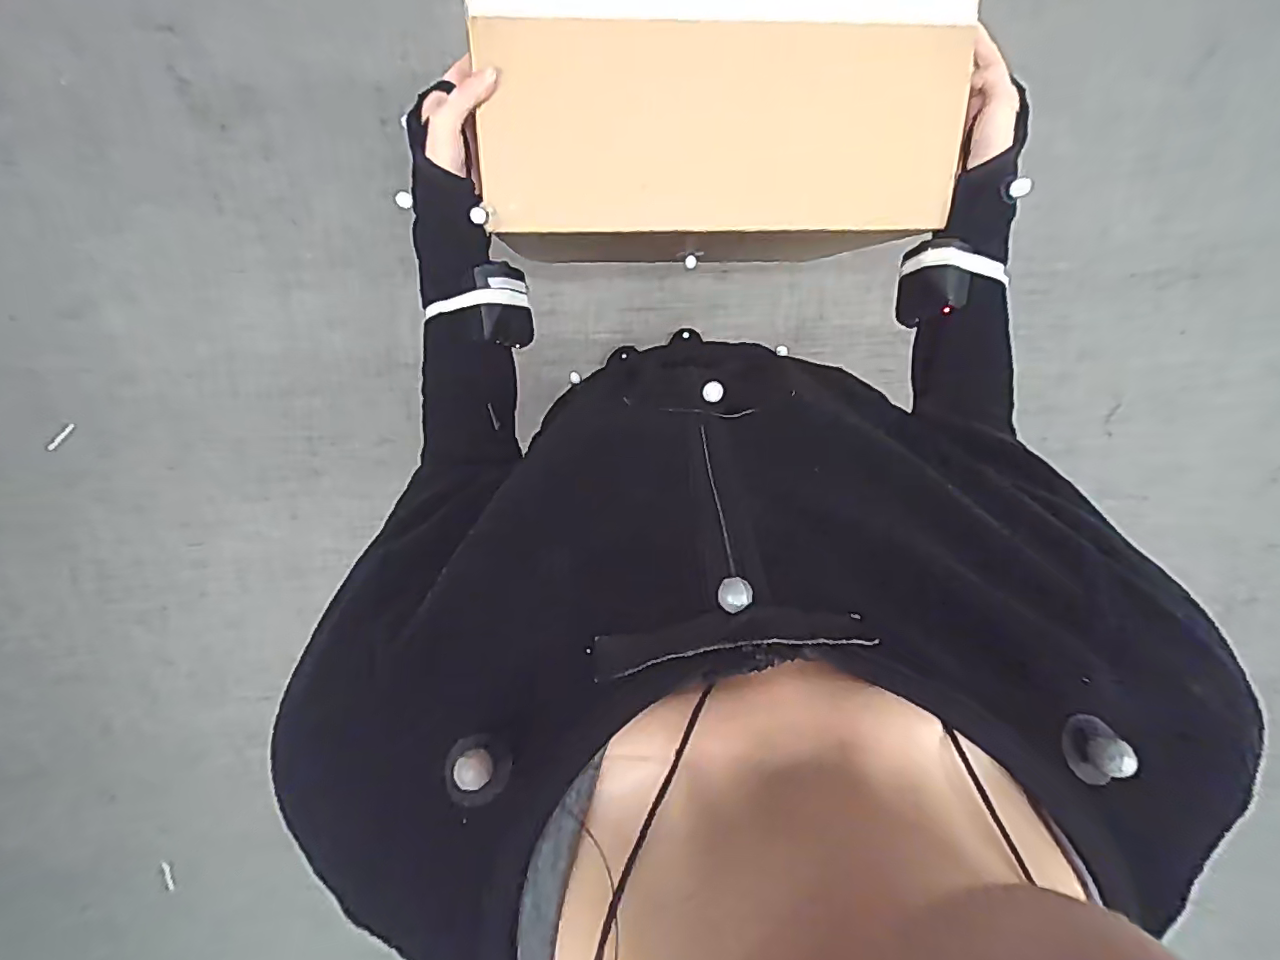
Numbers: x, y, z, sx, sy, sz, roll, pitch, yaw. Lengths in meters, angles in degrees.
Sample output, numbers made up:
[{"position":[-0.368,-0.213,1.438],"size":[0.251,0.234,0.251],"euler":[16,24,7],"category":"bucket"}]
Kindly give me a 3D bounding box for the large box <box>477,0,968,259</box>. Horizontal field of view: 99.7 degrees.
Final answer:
[{"position":[0.063,-0.416,0.578],"size":[0.408,0.320,0.320],"euler":[-2,107,-3],"category":"large box"}]
